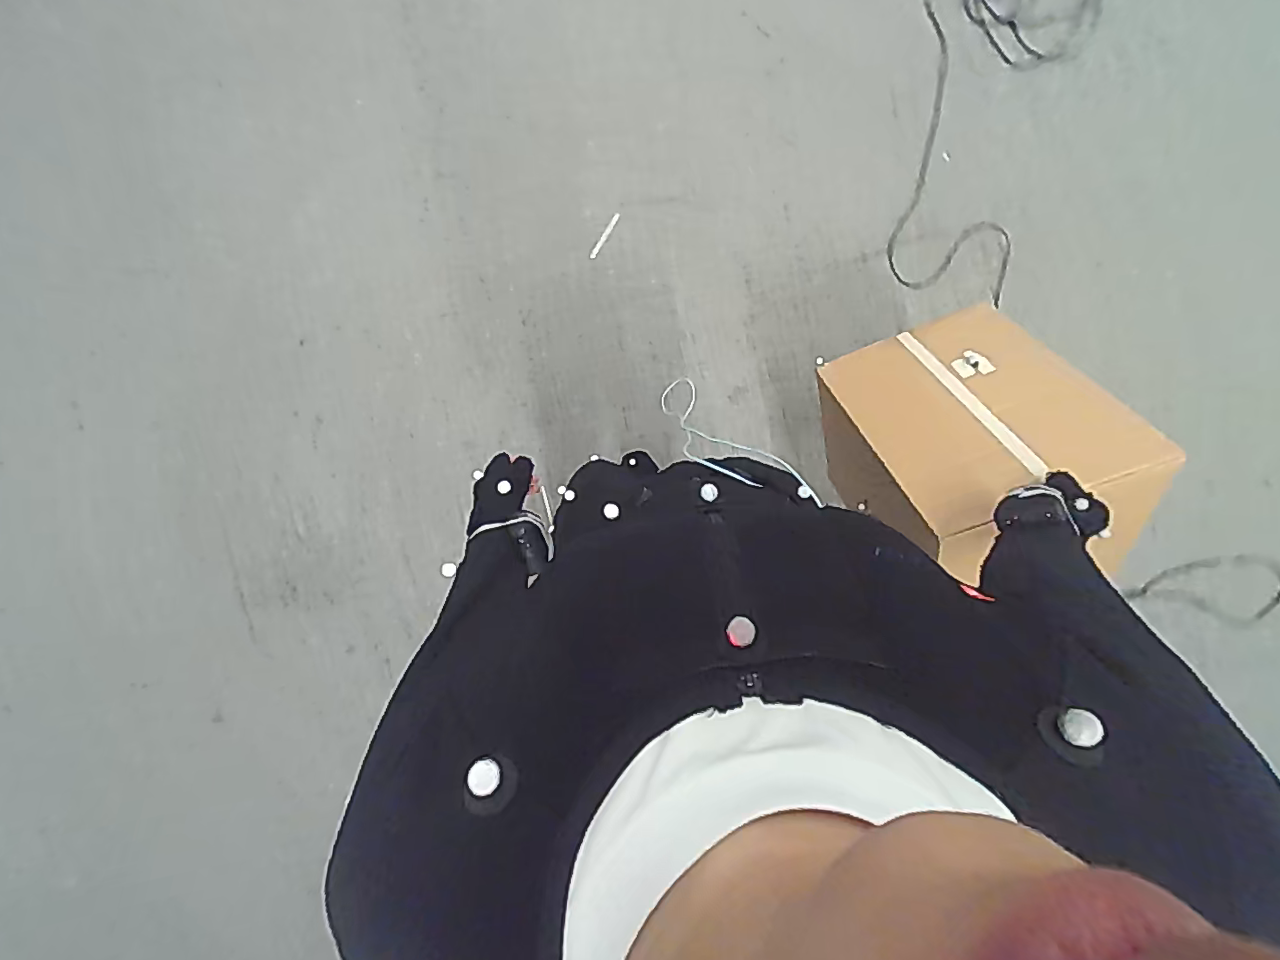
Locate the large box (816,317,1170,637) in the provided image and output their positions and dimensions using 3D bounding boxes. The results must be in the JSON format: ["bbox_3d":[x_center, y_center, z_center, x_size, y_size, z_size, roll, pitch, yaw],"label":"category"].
[{"bbox_3d":[0.546,-0.008,0.940,0.320,0.408,0.320,-19,135,6],"label":"large box"}]
